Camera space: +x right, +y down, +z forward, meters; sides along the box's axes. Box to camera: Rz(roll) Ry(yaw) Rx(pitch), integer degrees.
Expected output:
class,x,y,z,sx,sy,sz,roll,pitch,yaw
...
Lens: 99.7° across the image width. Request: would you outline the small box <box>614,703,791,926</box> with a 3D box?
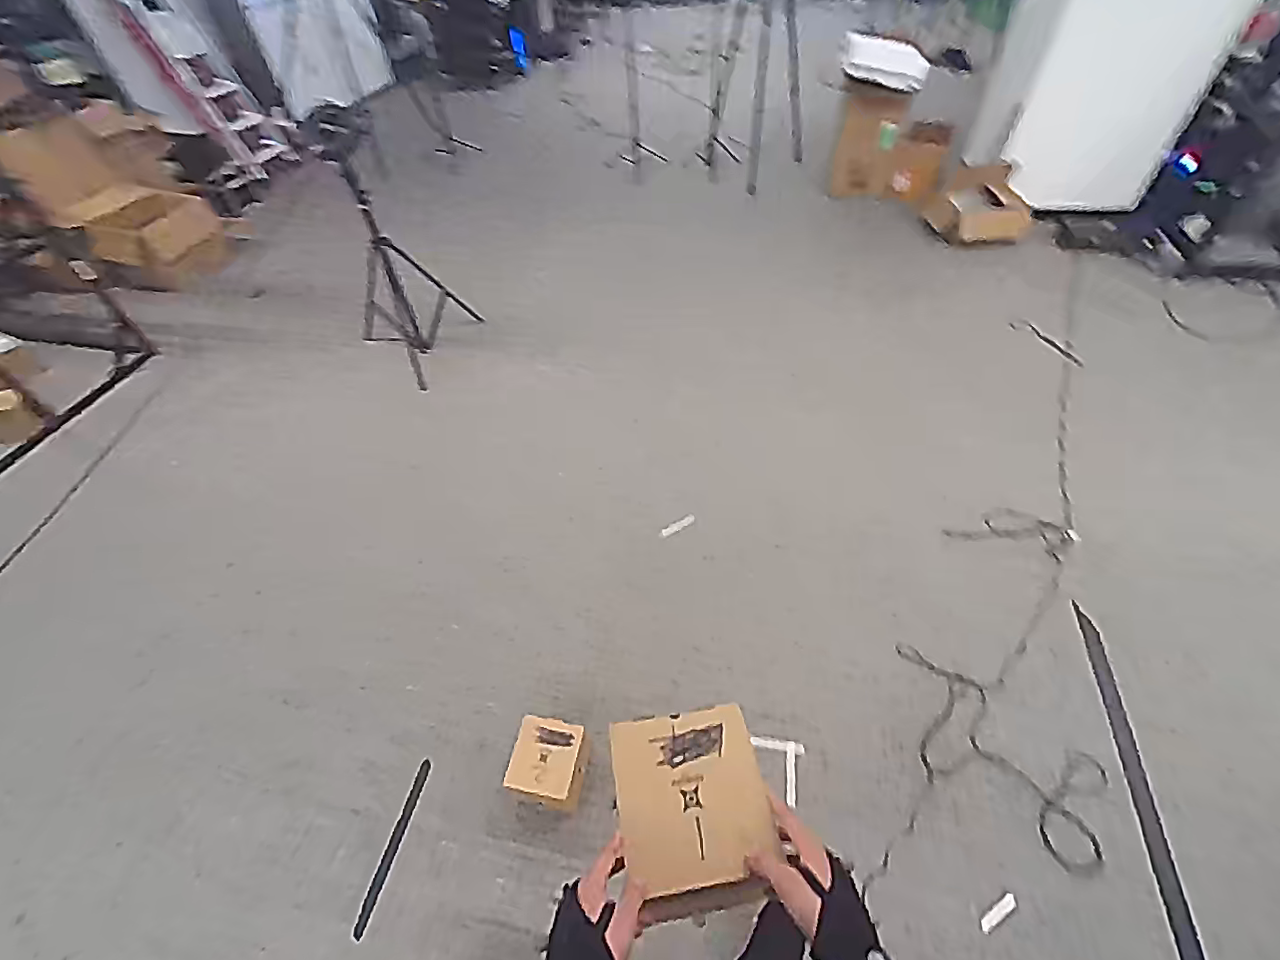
class,x,y,z,sx,sy,sz,roll,pitch,yaw
small box,0.060,0.399,0.650,0.168,0.176,0.179,-7,44,-7
